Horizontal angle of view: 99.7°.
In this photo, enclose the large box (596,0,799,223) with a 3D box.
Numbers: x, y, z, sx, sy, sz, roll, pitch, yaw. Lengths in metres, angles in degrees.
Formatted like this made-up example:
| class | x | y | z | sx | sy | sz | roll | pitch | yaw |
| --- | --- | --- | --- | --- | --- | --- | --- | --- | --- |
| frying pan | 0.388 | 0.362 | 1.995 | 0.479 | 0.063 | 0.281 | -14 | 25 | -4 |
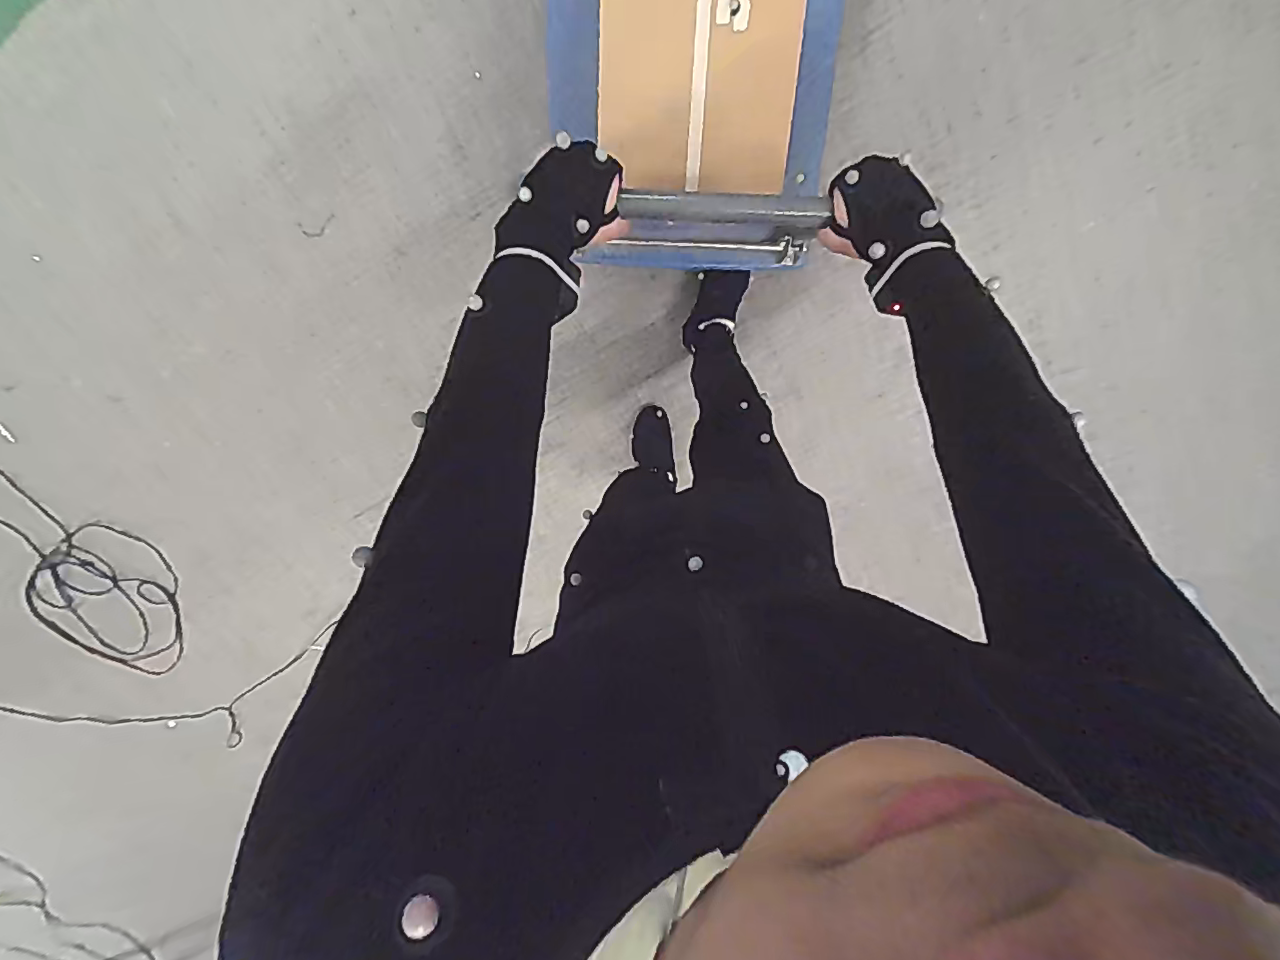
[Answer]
| class | x | y | z | sx | sy | sz | roll | pitch | yaw |
| --- | --- | --- | --- | --- | --- | --- | --- | --- | --- |
| large box | 0.092 | -0.712 | 1.002 | 0.320 | 0.320 | 0.408 | 3 | 110 | 0 |
